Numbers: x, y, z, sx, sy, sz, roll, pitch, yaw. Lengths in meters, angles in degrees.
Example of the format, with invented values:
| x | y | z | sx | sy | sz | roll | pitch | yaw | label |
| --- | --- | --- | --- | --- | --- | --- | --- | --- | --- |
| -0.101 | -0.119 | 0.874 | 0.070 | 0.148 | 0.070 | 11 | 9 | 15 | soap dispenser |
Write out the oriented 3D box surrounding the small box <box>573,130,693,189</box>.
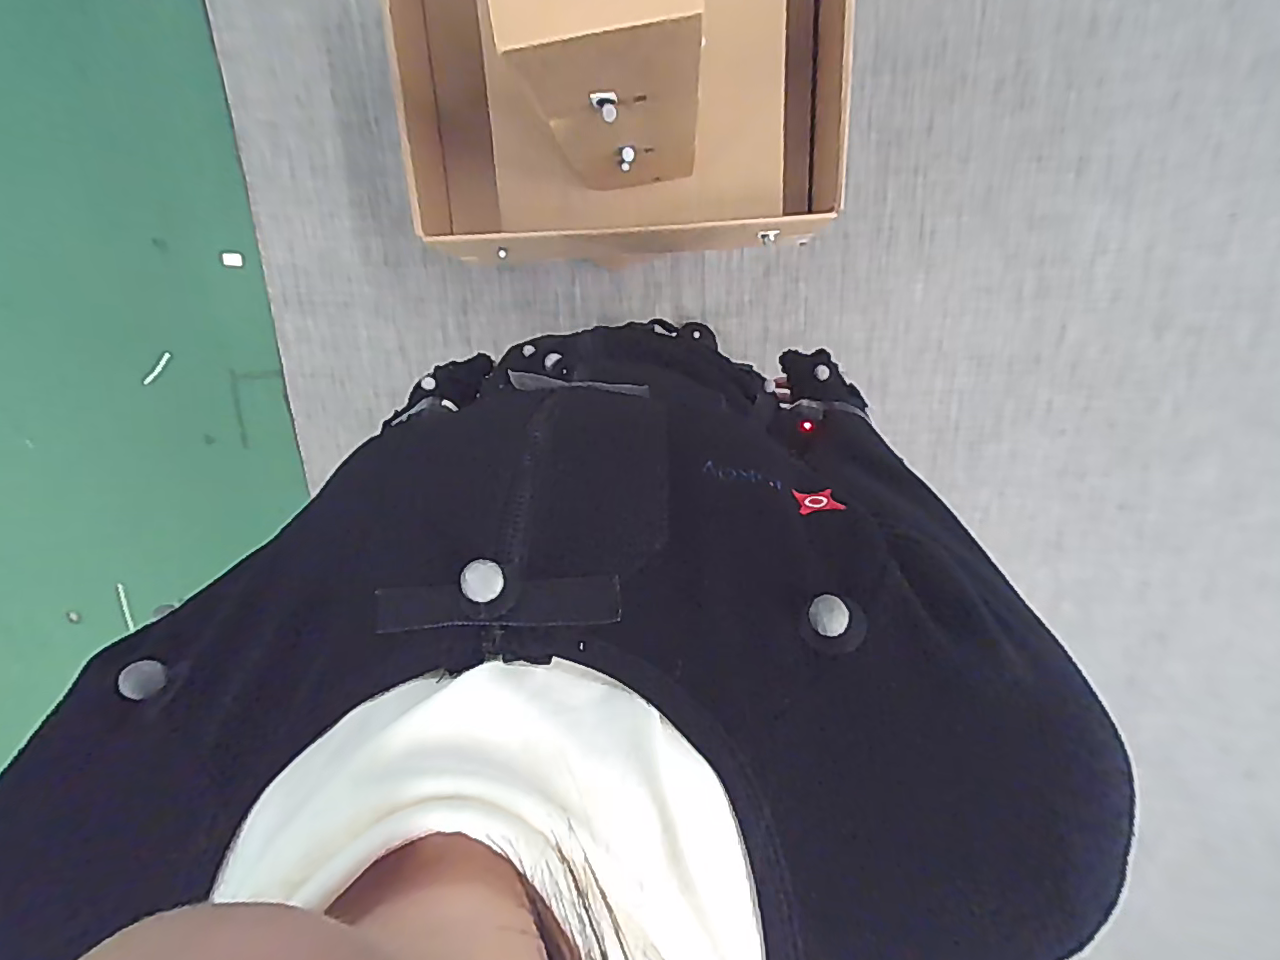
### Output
| x | y | z | sx | sy | sz | roll | pitch | yaw | label |
| --- | --- | --- | --- | --- | --- | --- | --- | --- | --- |
| -0.014 | -0.547 | 0.781 | 0.168 | 0.176 | 0.179 | -6 | 105 | 7 | small box |

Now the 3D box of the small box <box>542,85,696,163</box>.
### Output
| x | y | z | sx | sy | sz | roll | pitch | yaw | label |
| --- | --- | --- | --- | --- | --- | --- | --- | --- | --- |
| -0.027 | -0.497 | 0.626 | 0.168 | 0.176 | 0.179 | -6 | 106 | 6 | small box |

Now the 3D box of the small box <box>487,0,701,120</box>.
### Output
| x | y | z | sx | sy | sz | roll | pitch | yaw | label |
| --- | --- | --- | --- | --- | --- | --- | --- | --- | --- |
| -0.038 | -0.452 | 0.471 | 0.168 | 0.176 | 0.179 | -6 | 106 | 7 | small box |
